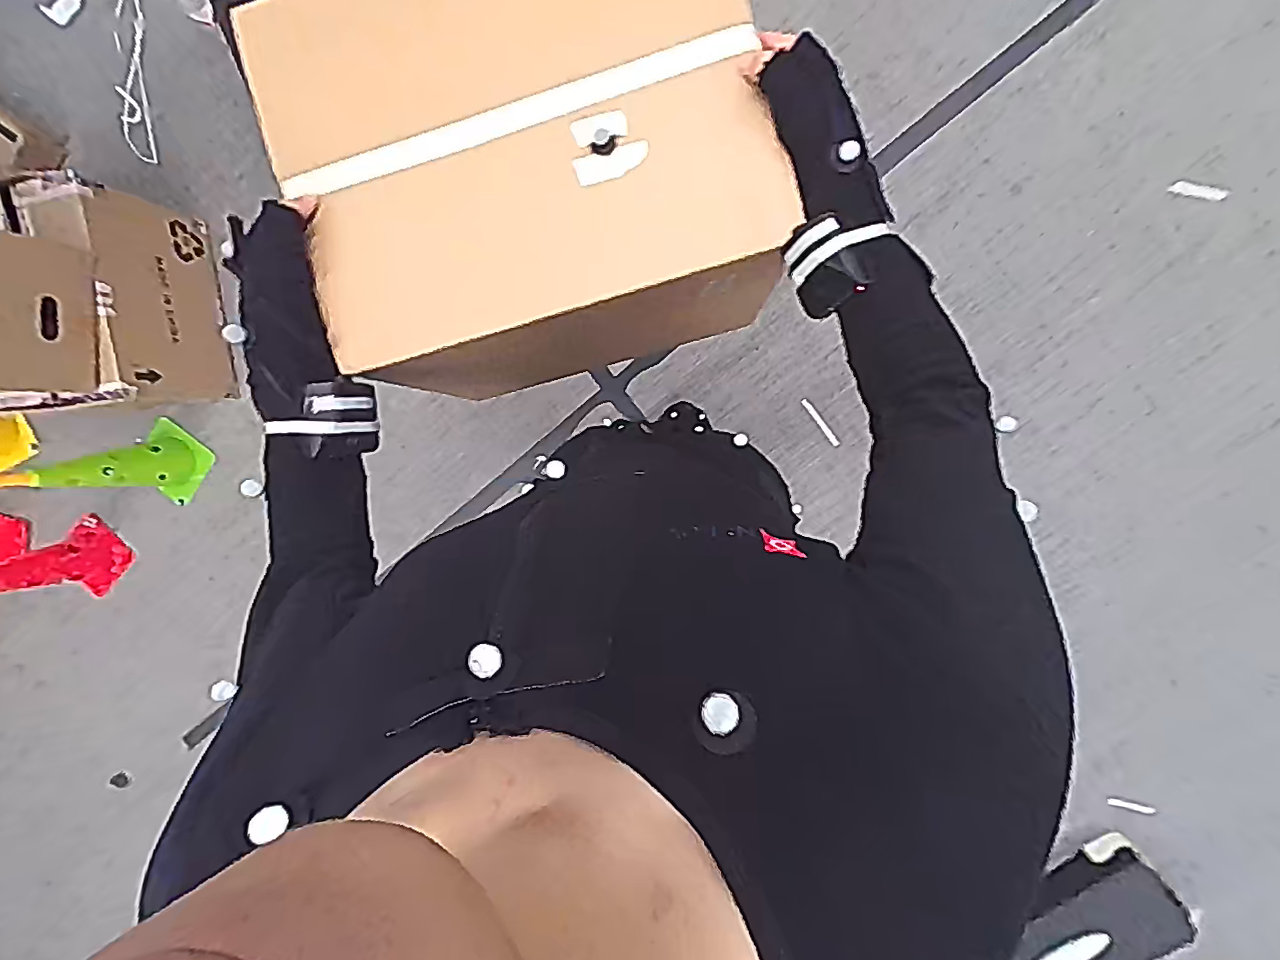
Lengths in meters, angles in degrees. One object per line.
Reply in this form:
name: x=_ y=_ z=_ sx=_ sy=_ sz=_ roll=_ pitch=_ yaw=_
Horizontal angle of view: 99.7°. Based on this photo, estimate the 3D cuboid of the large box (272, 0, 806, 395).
large box: x=-0.082 y=-0.308 z=0.601 sx=0.408 sy=0.320 sz=0.320 roll=-14 pitch=93 yaw=4
